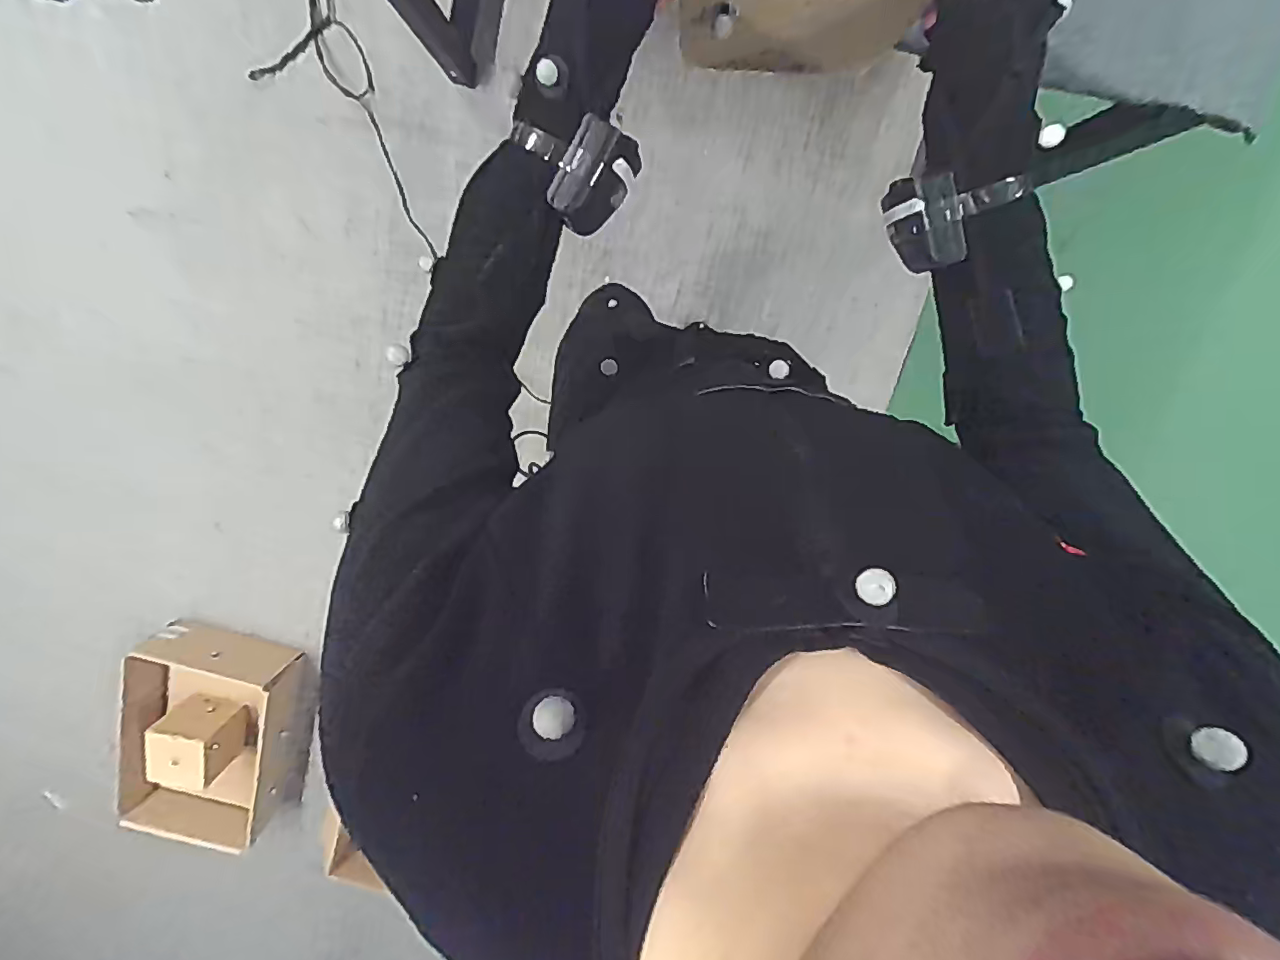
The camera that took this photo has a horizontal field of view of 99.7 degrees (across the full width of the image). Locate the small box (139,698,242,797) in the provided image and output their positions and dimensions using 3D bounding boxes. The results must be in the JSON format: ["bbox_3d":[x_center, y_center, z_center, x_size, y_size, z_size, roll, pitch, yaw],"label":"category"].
[{"bbox_3d":[-1.299,0.772,1.572,0.168,0.176,0.179,12,104,-2],"label":"small box"}]
